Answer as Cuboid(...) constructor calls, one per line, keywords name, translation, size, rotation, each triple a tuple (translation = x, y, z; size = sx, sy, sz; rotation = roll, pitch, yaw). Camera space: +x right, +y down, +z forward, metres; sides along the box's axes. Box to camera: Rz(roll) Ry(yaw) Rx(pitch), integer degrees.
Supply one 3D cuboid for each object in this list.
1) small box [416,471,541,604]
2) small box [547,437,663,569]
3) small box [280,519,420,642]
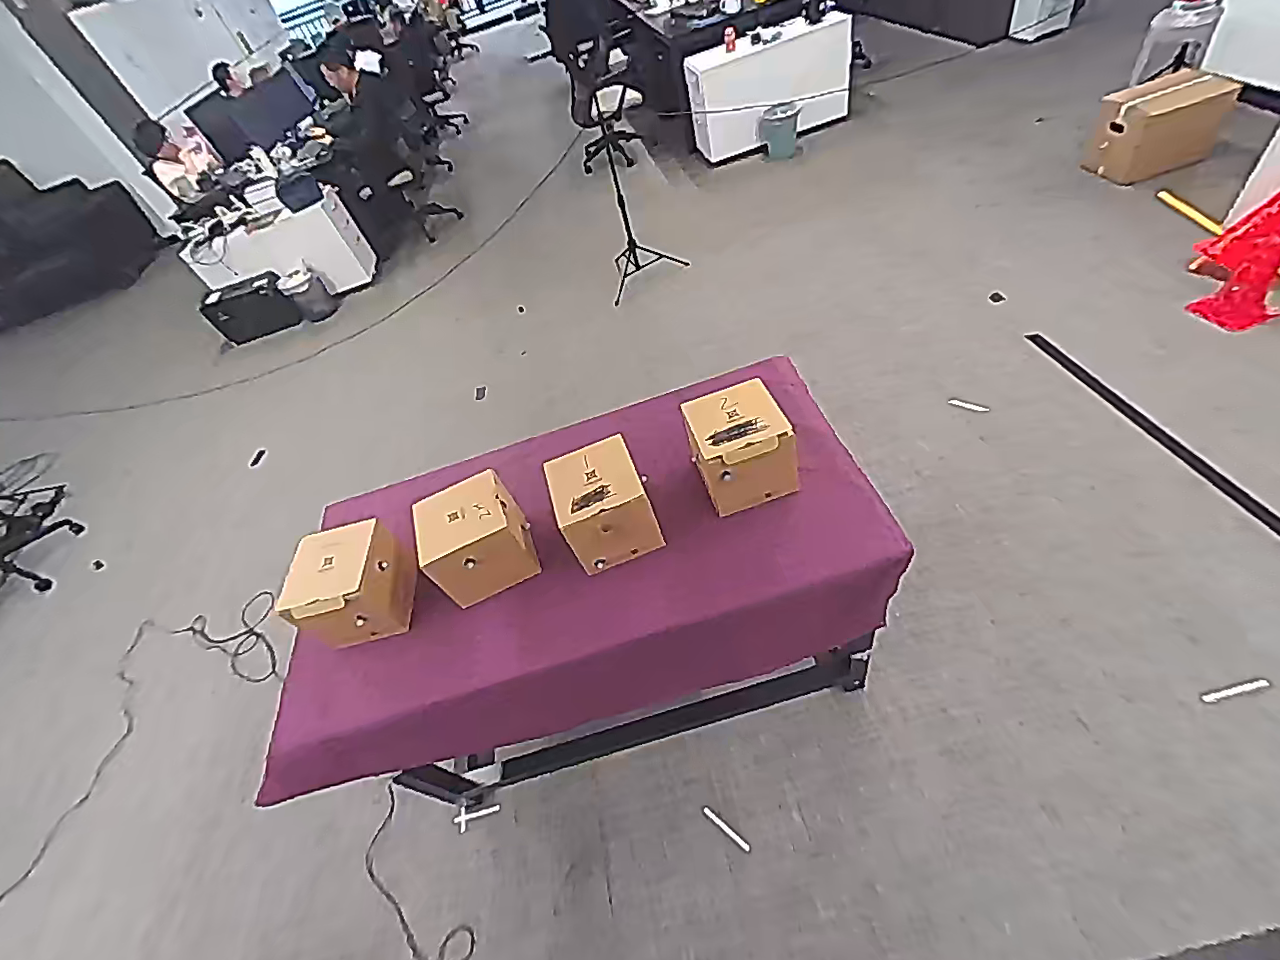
Cuboid(name="small box", translation=(-0.322, 0.120, 1.084), size=(0.179, 0.176, 0.168), rotation=(-24, 48, -4))
Cuboid(name="small box", translation=(-0.066, 0.053, 1.063), size=(0.168, 0.176, 0.179), rotation=(-21, 47, -1))
Cuboid(name="small box", translation=(-0.567, 0.210, 1.086), size=(0.168, 0.176, 0.179), rotation=(-14, 47, 5))
